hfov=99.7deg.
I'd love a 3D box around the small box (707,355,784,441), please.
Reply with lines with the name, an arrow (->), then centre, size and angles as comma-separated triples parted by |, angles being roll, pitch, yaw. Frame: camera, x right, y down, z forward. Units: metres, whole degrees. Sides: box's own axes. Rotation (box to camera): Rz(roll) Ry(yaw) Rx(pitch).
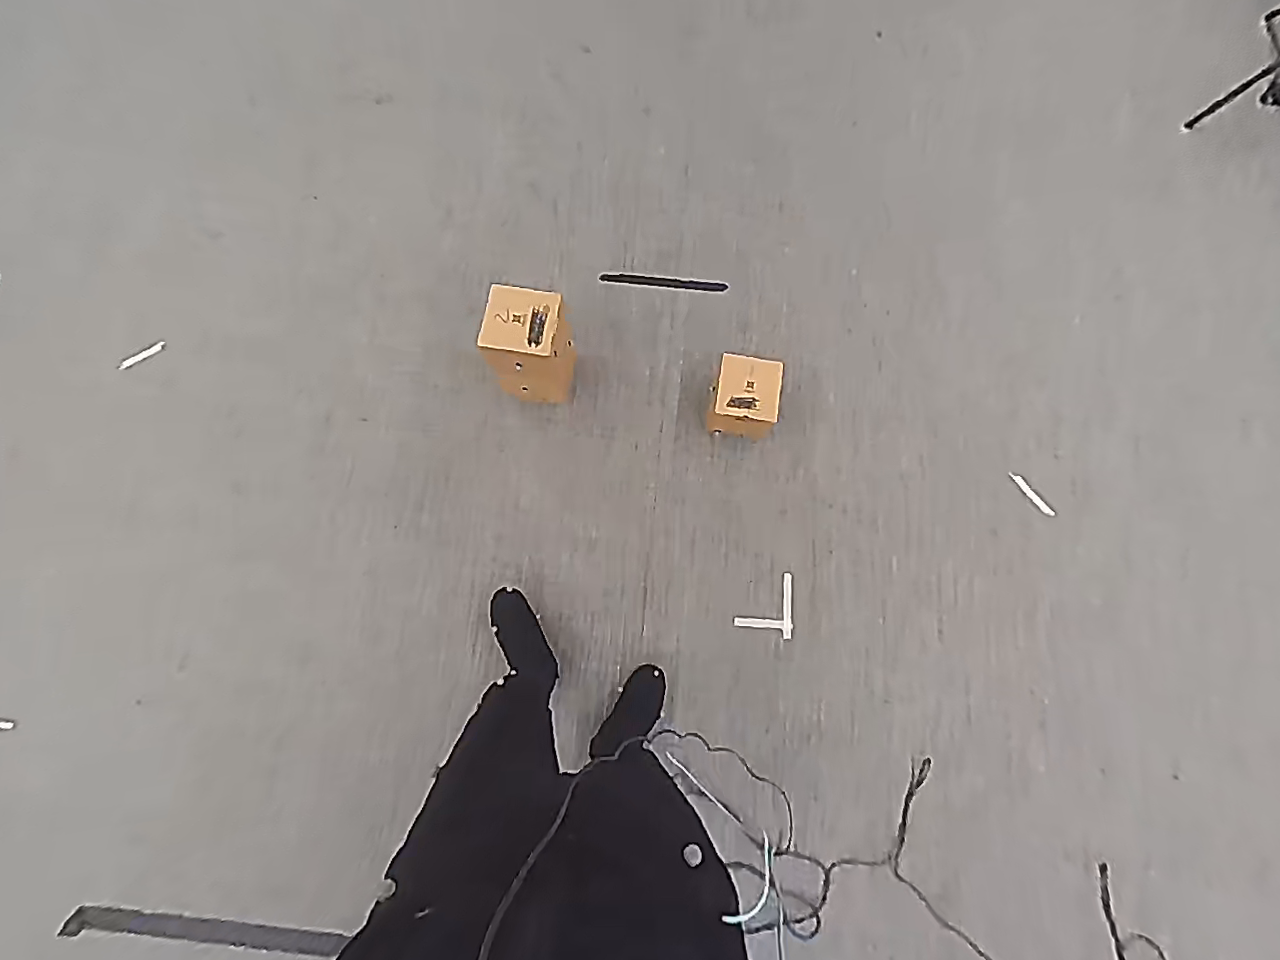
small box -> 0.286, -0.220, 1.501 | 0.168, 0.176, 0.179 | 10, 77, 0

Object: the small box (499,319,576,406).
small box -> -0.278, -0.322, 1.511 | 0.168, 0.176, 0.179 | 8, 77, 1
